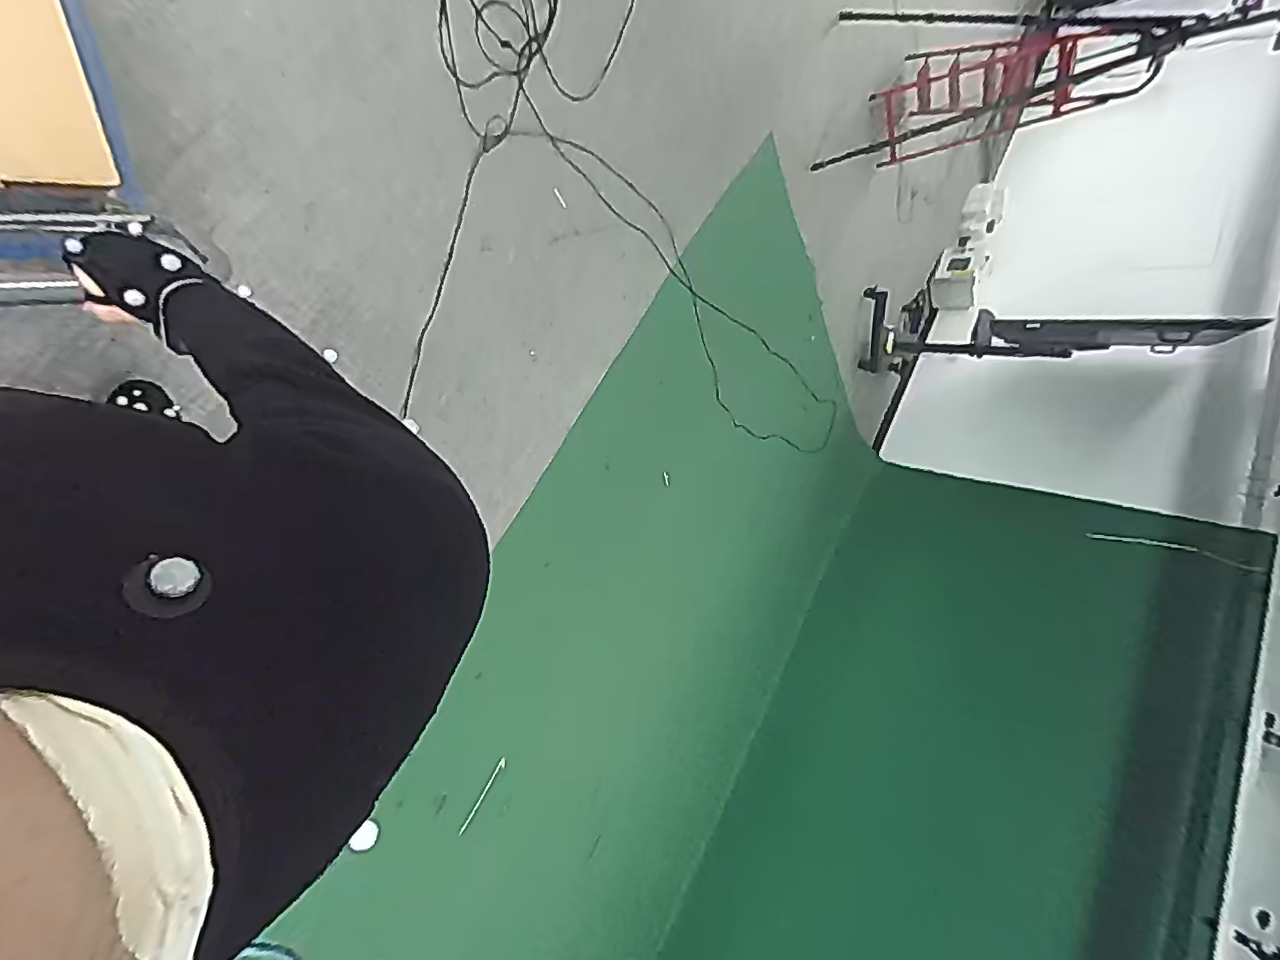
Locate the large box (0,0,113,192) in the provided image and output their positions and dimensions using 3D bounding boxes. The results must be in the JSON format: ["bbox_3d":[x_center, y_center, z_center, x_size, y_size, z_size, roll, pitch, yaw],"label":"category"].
[{"bbox_3d":[-1.005,-0.621,0.721,0.320,0.320,0.408,-25,124,-44],"label":"large box"}]
